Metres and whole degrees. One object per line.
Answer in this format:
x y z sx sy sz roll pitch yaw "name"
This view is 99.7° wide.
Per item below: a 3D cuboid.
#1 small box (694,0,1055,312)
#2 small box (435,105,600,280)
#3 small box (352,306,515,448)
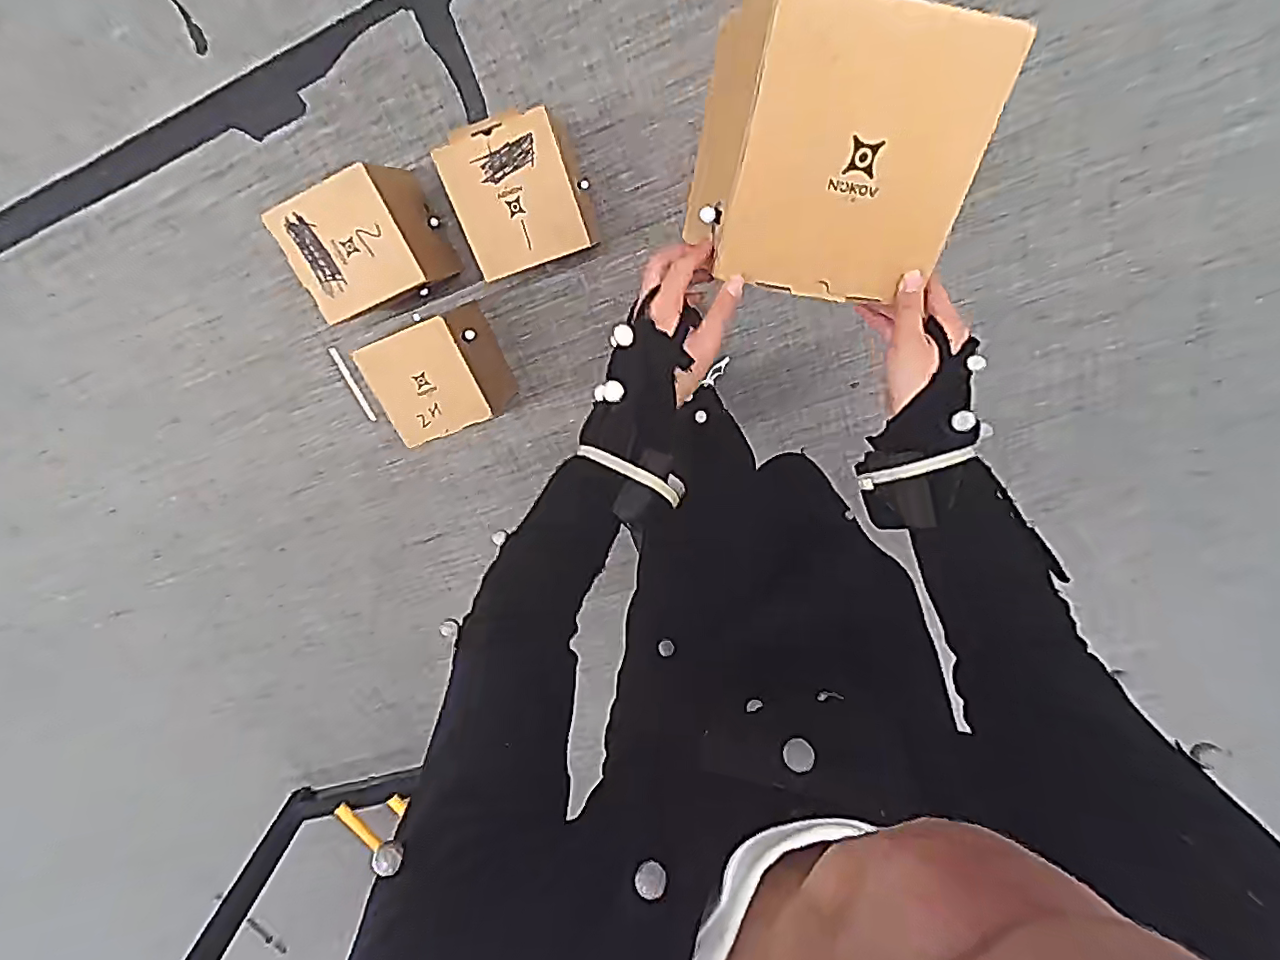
0.145 -0.248 0.415 0.168 0.176 0.179 4 124 -8 "small box"
-0.167 -0.415 0.800 0.168 0.176 0.179 -15 116 9 "small box"
-0.335 -0.183 0.918 0.168 0.176 0.179 -18 114 11 "small box"
